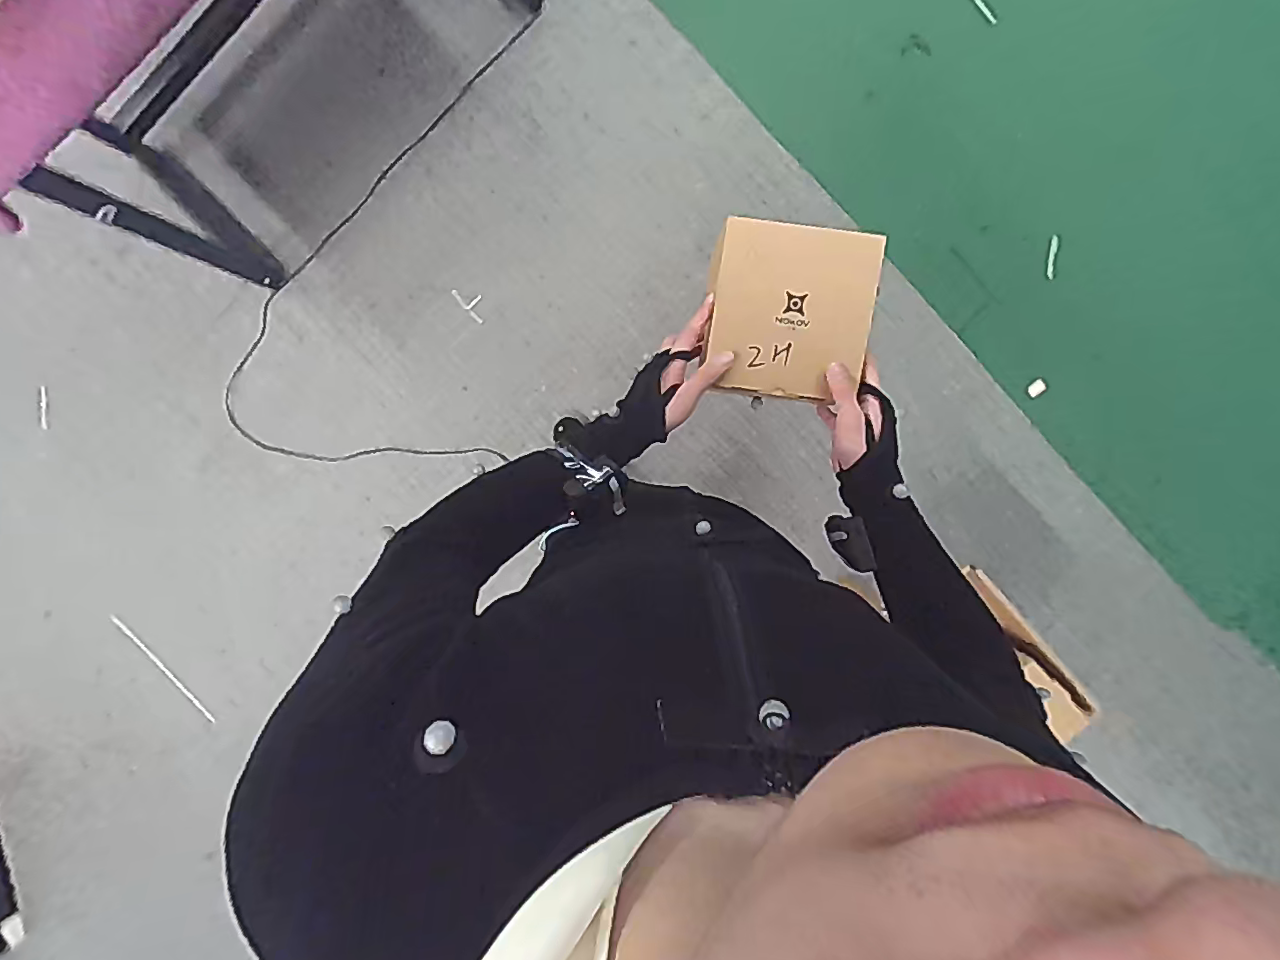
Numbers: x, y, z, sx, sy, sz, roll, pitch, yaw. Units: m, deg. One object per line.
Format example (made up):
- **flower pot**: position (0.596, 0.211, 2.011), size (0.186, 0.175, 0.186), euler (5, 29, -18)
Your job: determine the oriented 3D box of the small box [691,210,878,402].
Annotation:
- **small box**: position (0.154, -0.190, 0.640), size (0.168, 0.176, 0.179), euler (8, 98, 1)
